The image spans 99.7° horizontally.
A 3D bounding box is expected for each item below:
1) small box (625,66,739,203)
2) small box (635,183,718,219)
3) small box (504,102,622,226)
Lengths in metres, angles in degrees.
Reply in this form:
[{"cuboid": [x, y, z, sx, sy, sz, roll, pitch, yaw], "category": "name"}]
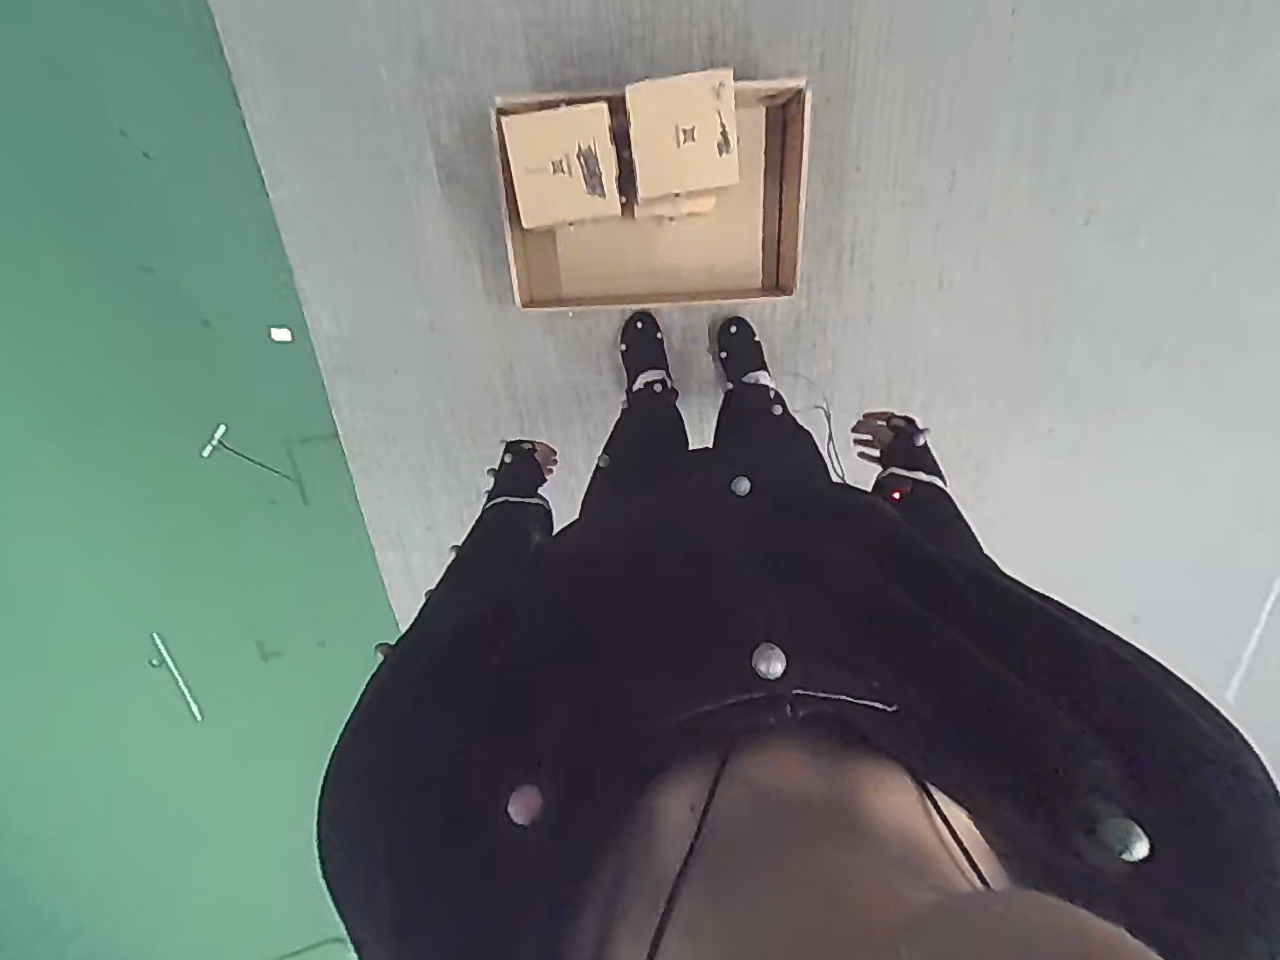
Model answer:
[{"cuboid": [0.076, -0.596, 0.955, 0.179, 0.176, 0.168, -6, 113, 5], "category": "small box"}, {"cuboid": [0.072, -0.643, 1.114, 0.168, 0.176, 0.179, -2, 113, 3], "category": "small box"}, {"cuboid": [-0.127, -0.558, 0.973, 0.179, 0.176, 0.168, -6, 114, 3], "category": "small box"}]
